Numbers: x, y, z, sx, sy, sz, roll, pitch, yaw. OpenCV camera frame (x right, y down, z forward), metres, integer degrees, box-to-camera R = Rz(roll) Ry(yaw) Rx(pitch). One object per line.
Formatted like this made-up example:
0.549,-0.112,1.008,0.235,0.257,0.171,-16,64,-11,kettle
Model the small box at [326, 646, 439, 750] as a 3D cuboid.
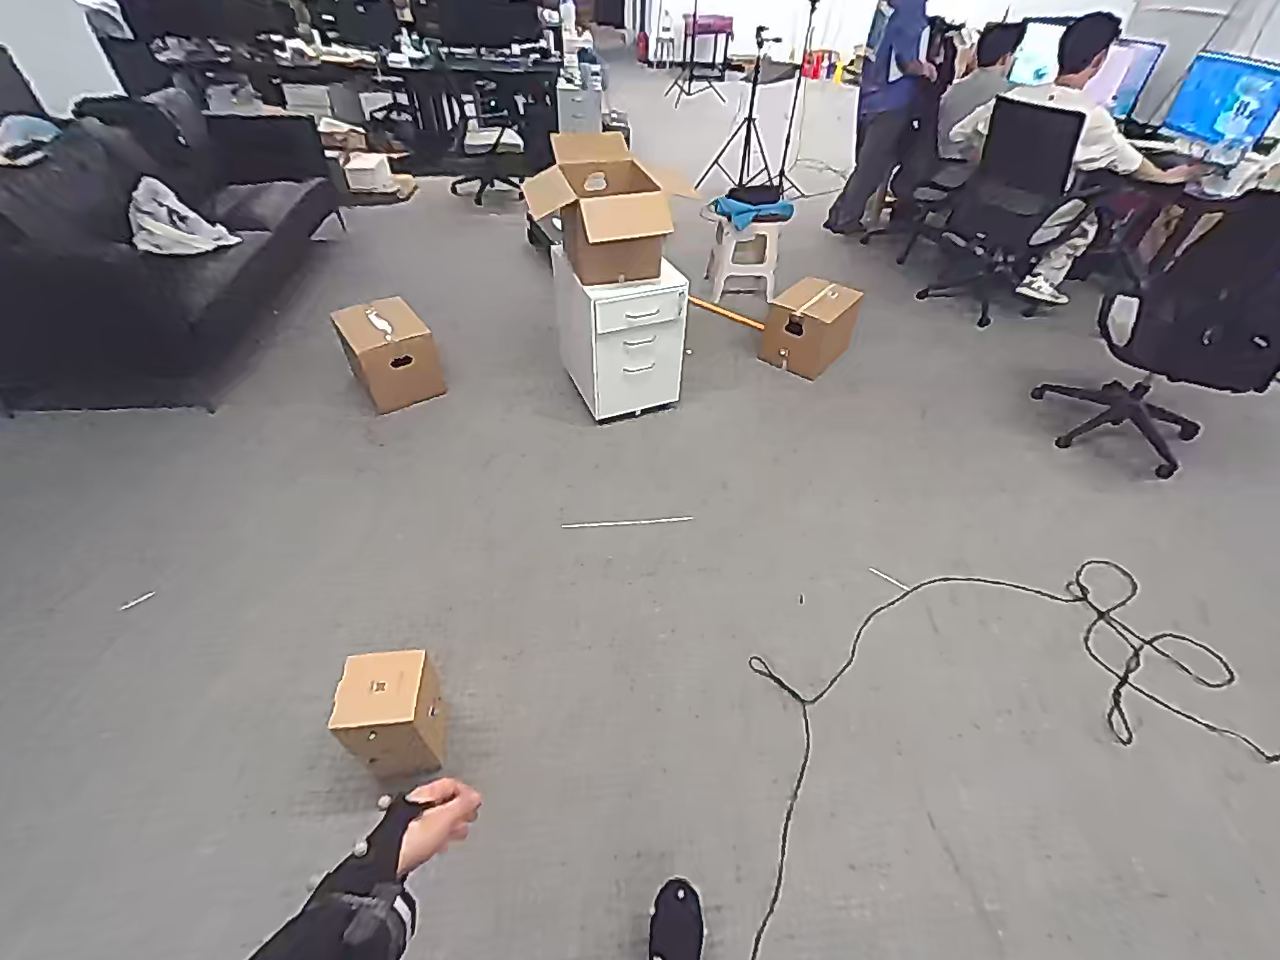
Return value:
-0.579,0.503,1.242,0.179,0.176,0.168,-3,46,-7,small box
